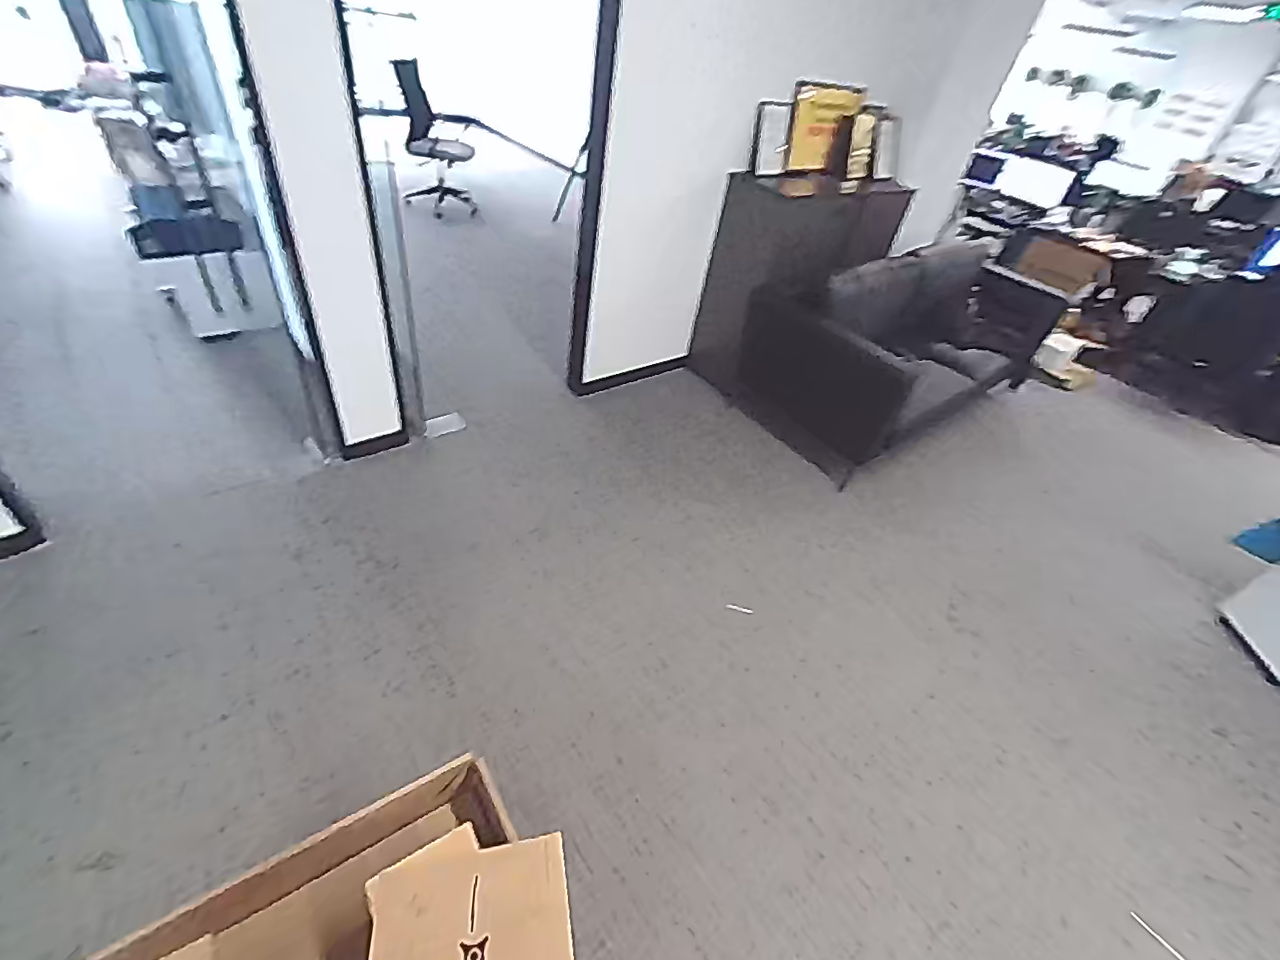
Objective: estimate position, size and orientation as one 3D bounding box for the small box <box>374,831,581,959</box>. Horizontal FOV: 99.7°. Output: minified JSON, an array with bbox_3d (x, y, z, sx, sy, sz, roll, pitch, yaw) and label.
[{"bbox_3d":[-0.136,0.458,0.488,0.168,0.176,0.179,-4,38,-11],"label":"small box"}]

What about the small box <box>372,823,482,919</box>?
[{"bbox_3d":[-0.316,0.710,0.873,0.168,0.176,0.179,-18,49,-30],"label":"small box"}]

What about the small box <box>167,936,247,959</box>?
[{"bbox_3d":[-0.540,0.674,0.607,0.168,0.176,0.179,-17,48,-28],"label":"small box"}]
